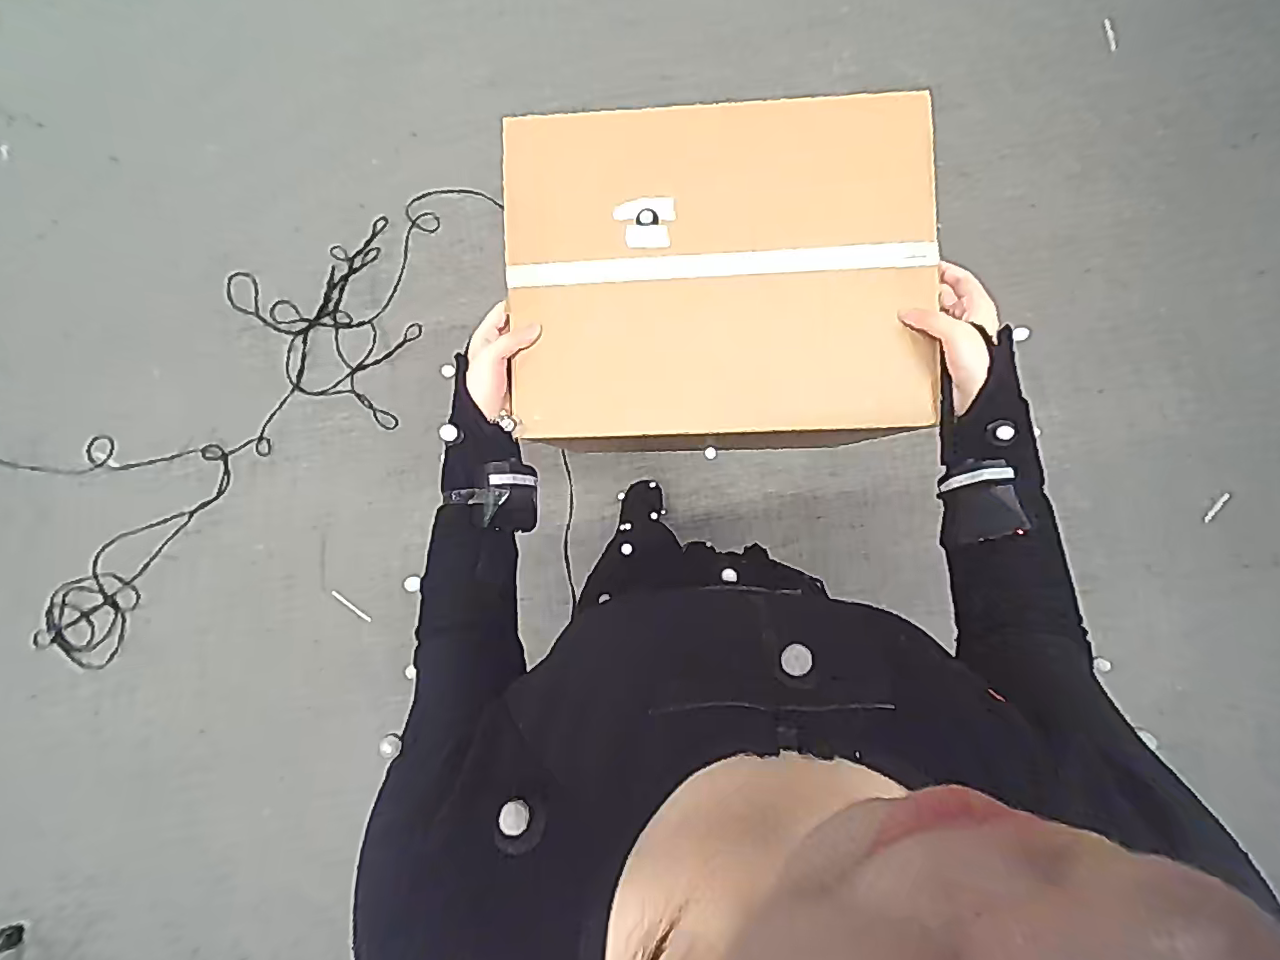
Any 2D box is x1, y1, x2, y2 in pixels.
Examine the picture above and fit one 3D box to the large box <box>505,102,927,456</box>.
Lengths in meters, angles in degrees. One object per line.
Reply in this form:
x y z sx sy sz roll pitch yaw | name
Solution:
0.081 -0.198 0.677 0.408 0.320 0.320 -3 89 5 | large box
